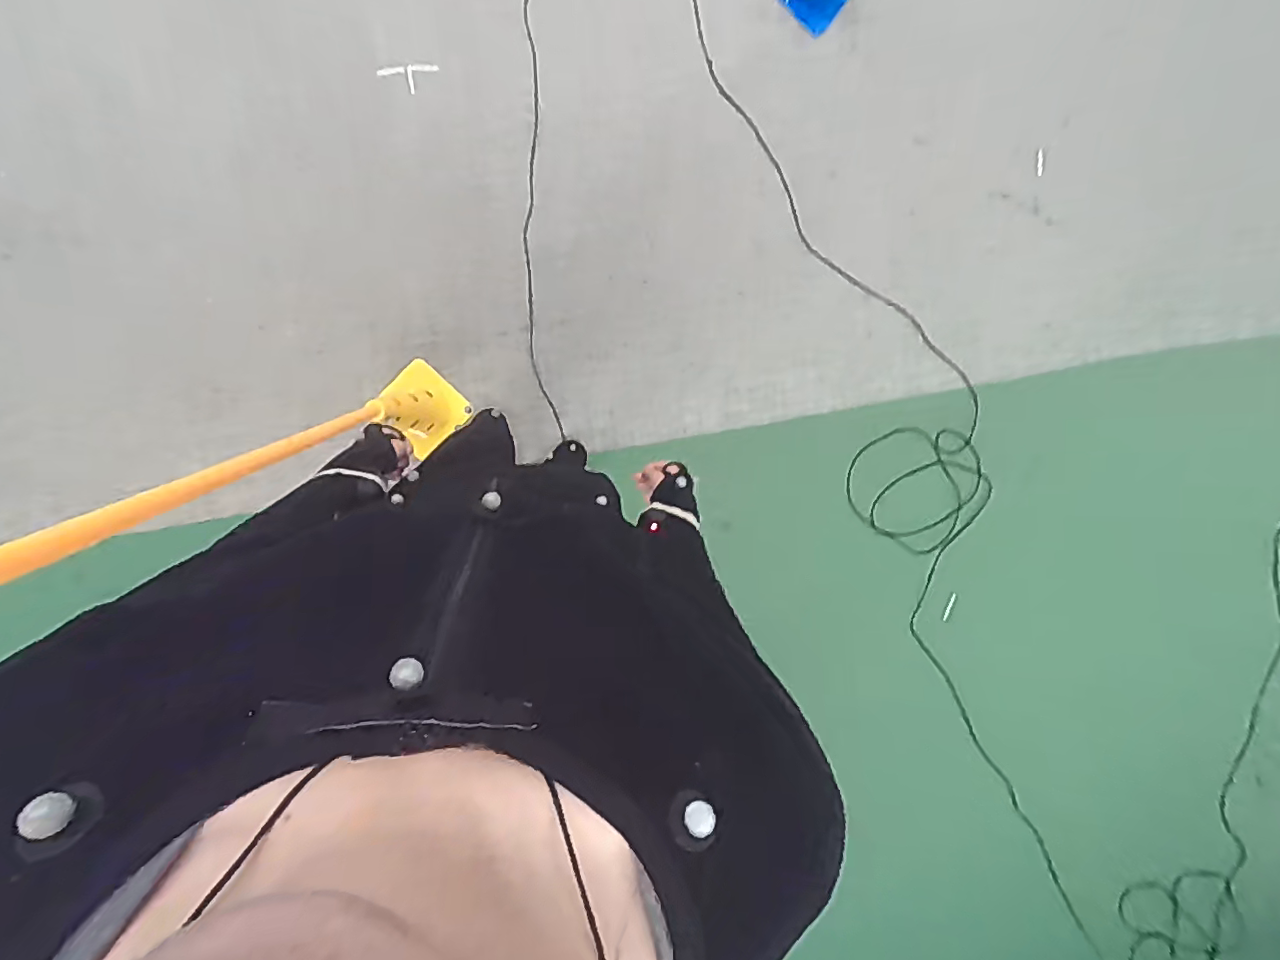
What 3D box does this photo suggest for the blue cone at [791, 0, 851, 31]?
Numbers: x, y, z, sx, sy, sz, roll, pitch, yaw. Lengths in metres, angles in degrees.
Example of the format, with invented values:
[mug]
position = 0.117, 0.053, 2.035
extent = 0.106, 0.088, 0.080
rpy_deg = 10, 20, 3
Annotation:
[blue cone]
position = 0.489, -1.278, 1.235
extent = 0.192, 0.380, 0.193
rpy_deg = 36, 89, -11
